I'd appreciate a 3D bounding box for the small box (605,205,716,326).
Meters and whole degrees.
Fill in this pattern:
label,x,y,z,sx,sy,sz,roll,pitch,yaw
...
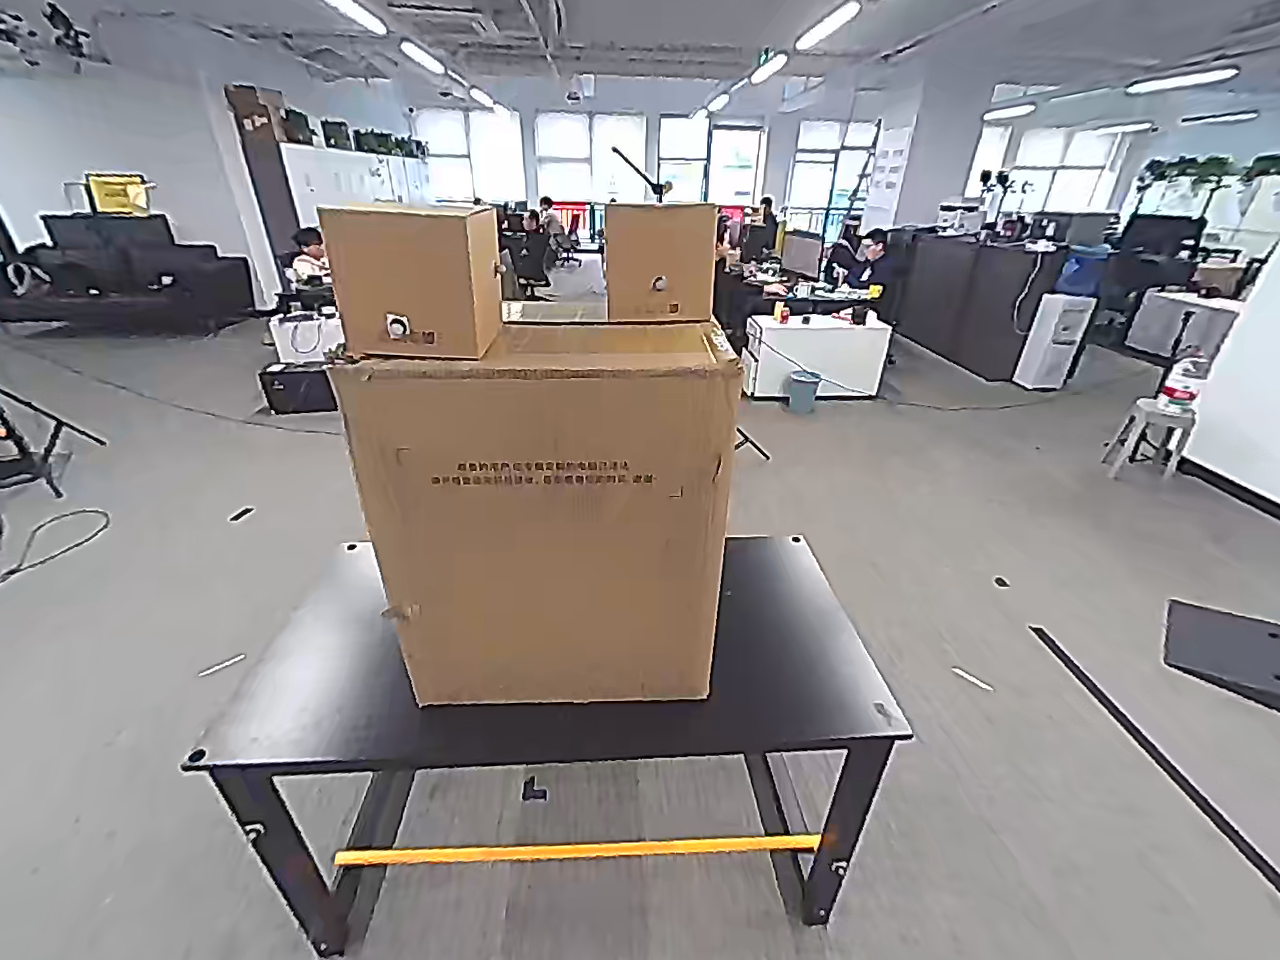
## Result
label,x,y,z,sx,sy,sz,roll,pitch,yaw
small box,0.026,-0.356,0.893,0.168,0.176,0.179,-2,26,-3

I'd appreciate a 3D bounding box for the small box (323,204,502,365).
label,x,y,z,sx,sy,sz,roll,pitch,yaw
small box,-0.280,-0.262,0.713,0.168,0.176,0.179,0,30,-4
